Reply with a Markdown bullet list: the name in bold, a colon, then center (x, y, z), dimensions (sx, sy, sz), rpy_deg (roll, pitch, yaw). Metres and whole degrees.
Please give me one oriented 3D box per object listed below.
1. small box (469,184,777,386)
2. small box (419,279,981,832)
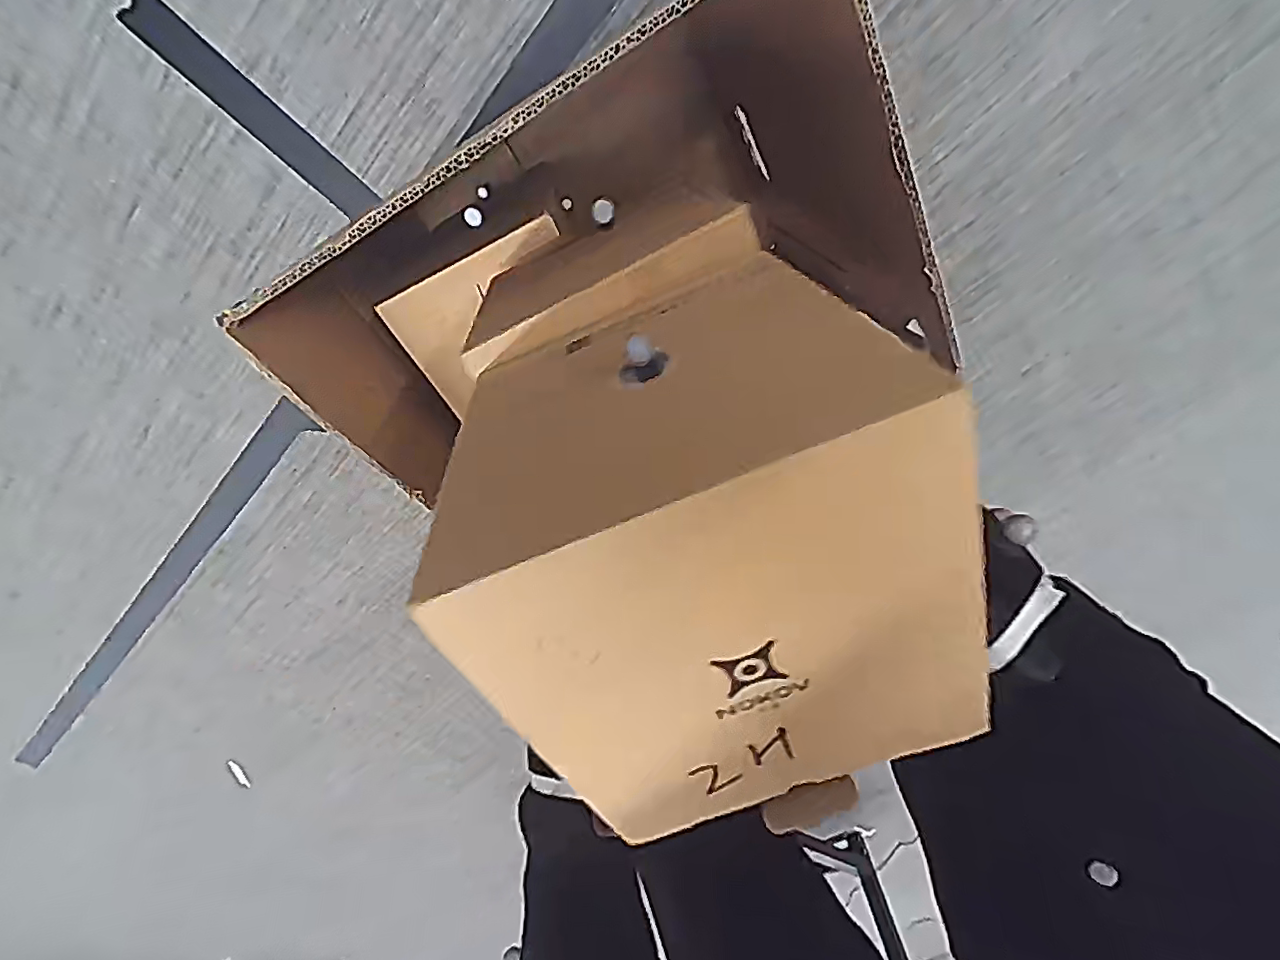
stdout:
- **small box**: center (0.007, -0.082, 0.386), dimensions (0.168, 0.176, 0.179), rpy_deg (-24, 123, 7)
- **small box**: center (0.029, 0.022, 0.259), dimensions (0.168, 0.176, 0.179), rpy_deg (-21, 124, 6)
